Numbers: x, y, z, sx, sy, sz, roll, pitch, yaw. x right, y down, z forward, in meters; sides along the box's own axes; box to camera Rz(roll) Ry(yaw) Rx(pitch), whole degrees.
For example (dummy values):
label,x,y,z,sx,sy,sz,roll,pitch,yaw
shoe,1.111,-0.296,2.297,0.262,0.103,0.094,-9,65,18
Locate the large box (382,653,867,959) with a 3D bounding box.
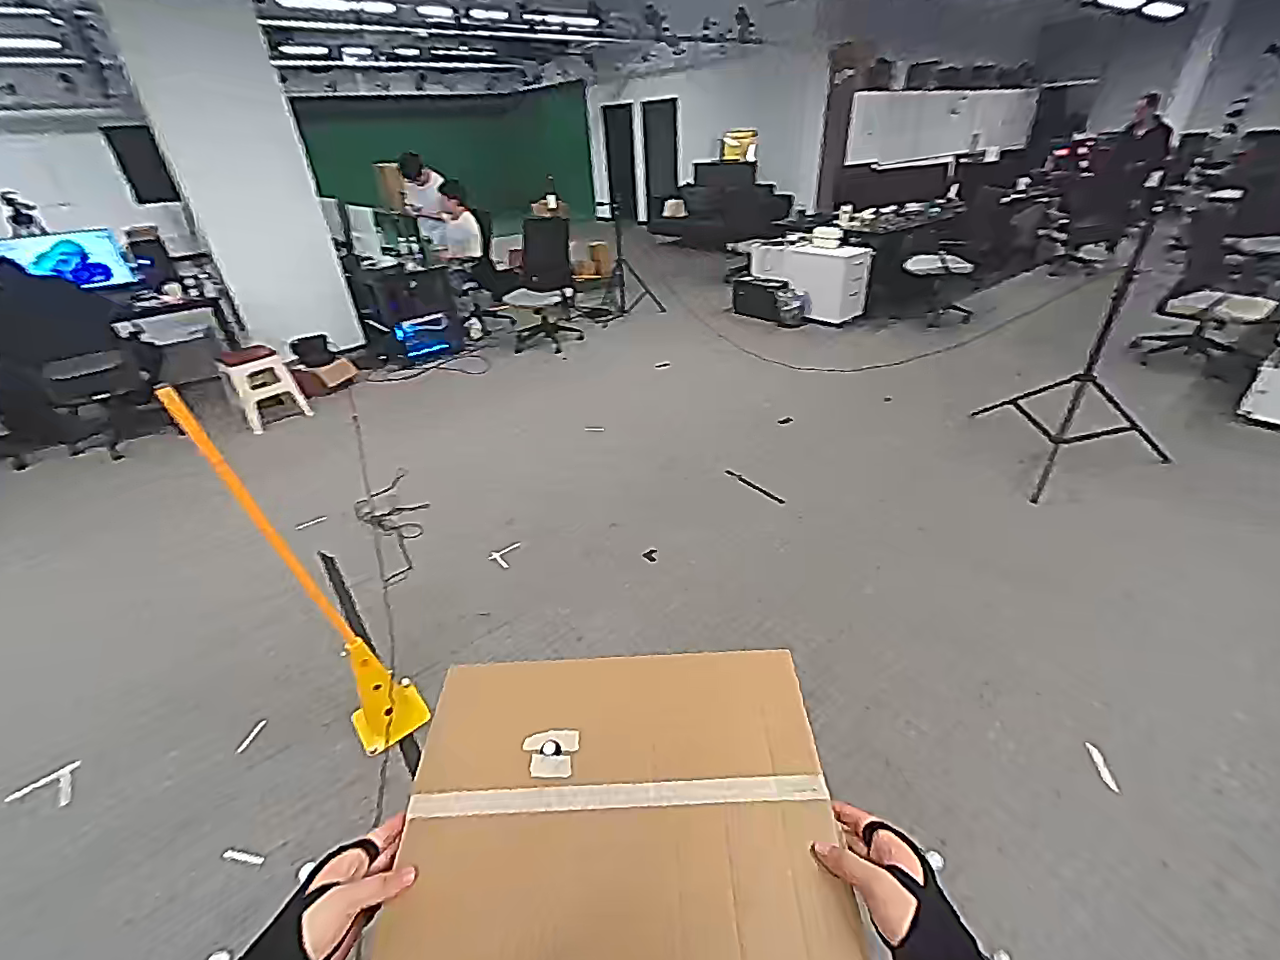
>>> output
label,x,y,z,sx,sy,sz,roll,pitch,yaw
large box,-0.011,0.436,0.621,0.408,0.320,0.320,-5,37,1
